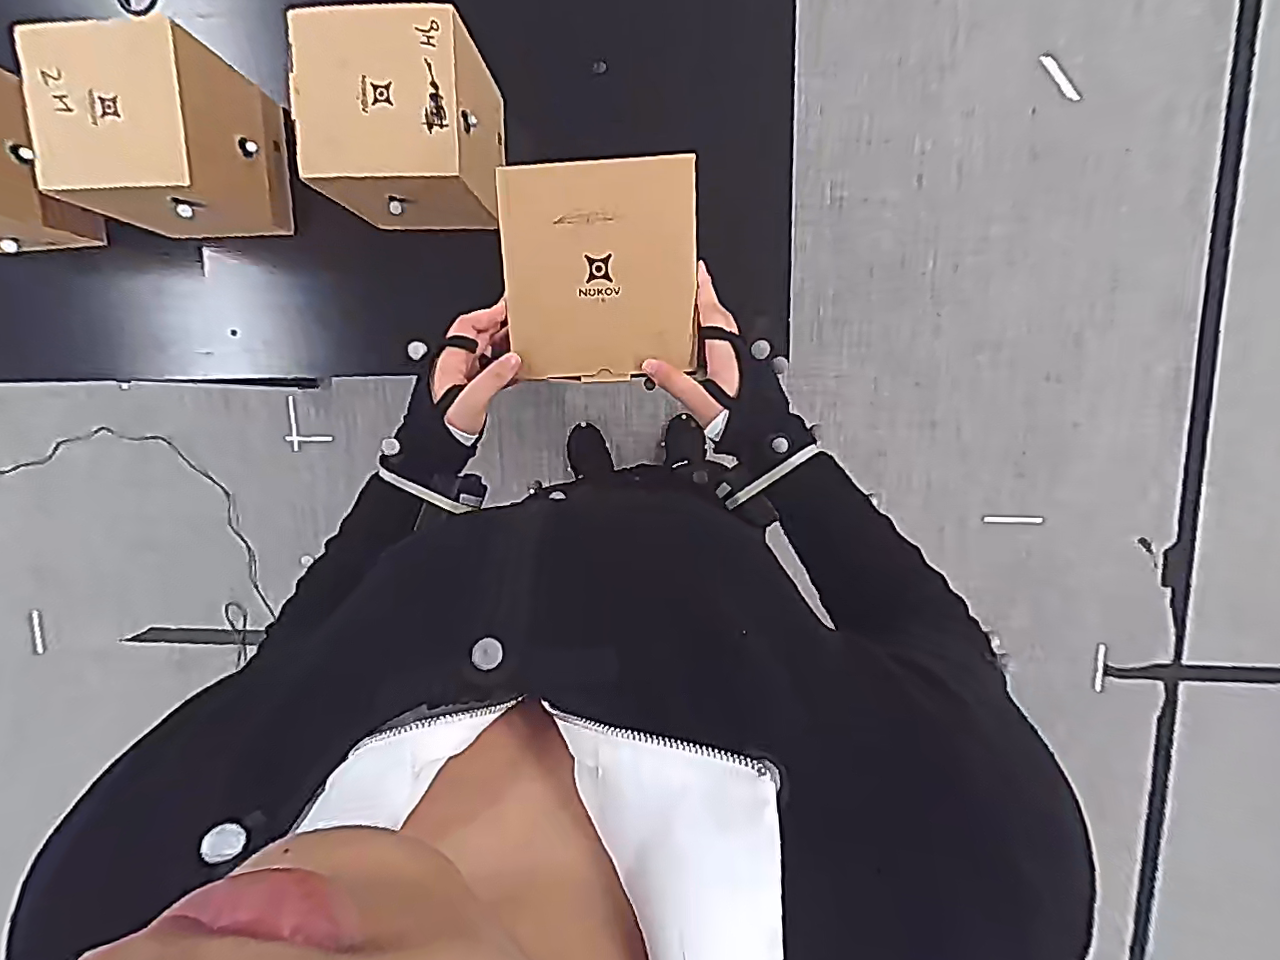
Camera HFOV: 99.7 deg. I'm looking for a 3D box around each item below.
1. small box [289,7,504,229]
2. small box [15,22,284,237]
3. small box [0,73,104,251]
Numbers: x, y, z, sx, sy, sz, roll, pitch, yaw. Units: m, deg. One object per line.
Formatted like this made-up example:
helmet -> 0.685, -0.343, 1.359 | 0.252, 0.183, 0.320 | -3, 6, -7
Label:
small box -> -0.273, -0.409, 0.642 | 0.179, 0.176, 0.168 | 1, 98, 3
small box -> -0.566, -0.405, 0.655 | 0.179, 0.176, 0.168 | -1, 97, 3
small box -> -0.833, -0.401, 0.669 | 0.168, 0.176, 0.179 | -2, 98, 3
